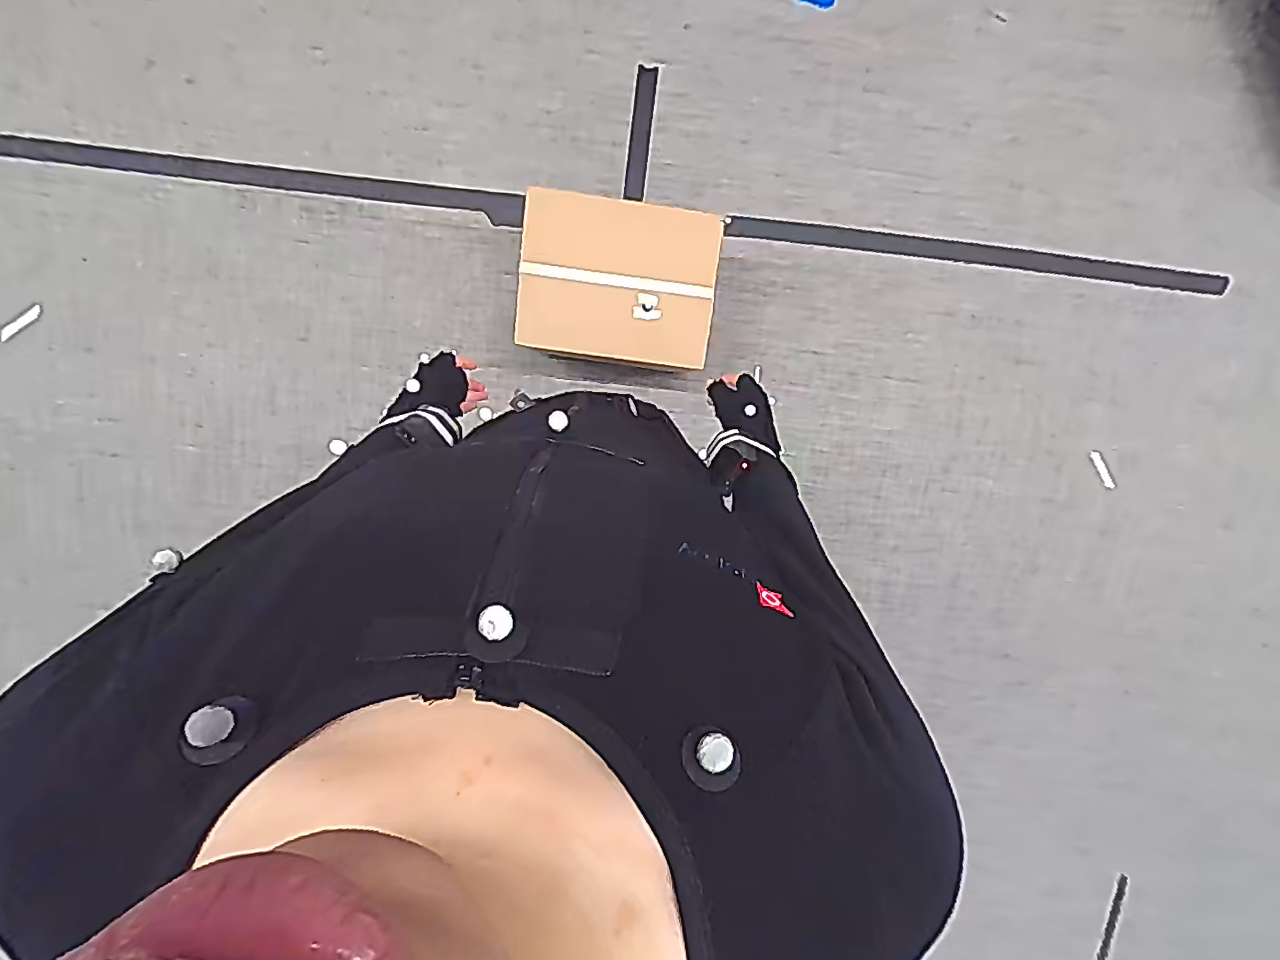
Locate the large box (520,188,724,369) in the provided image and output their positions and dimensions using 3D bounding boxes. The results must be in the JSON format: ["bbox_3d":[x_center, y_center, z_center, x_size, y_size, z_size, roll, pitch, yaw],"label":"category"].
[{"bbox_3d":[-0.048,-0.441,1.264,0.408,0.320,0.320,6,100,-4],"label":"large box"}]
